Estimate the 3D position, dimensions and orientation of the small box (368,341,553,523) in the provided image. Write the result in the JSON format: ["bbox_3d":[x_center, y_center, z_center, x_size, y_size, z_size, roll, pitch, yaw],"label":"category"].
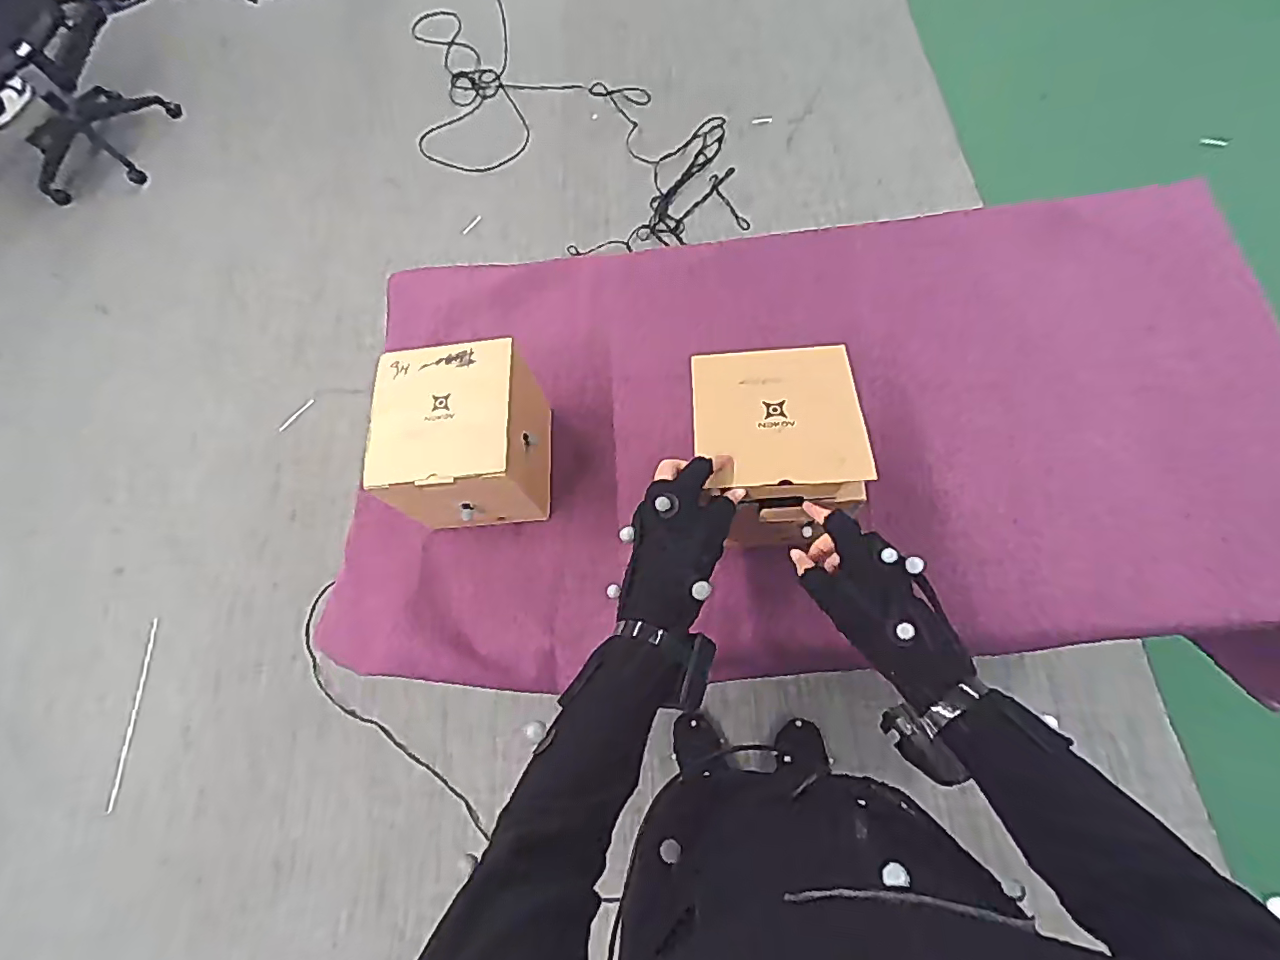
[{"bbox_3d":[-0.211,-0.048,0.686,0.168,0.176,0.179,-5,69,6],"label":"small box"}]

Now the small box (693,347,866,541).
[{"bbox_3d":[0.149,-0.029,0.628,0.168,0.176,0.179,-2,68,7],"label":"small box"}]
